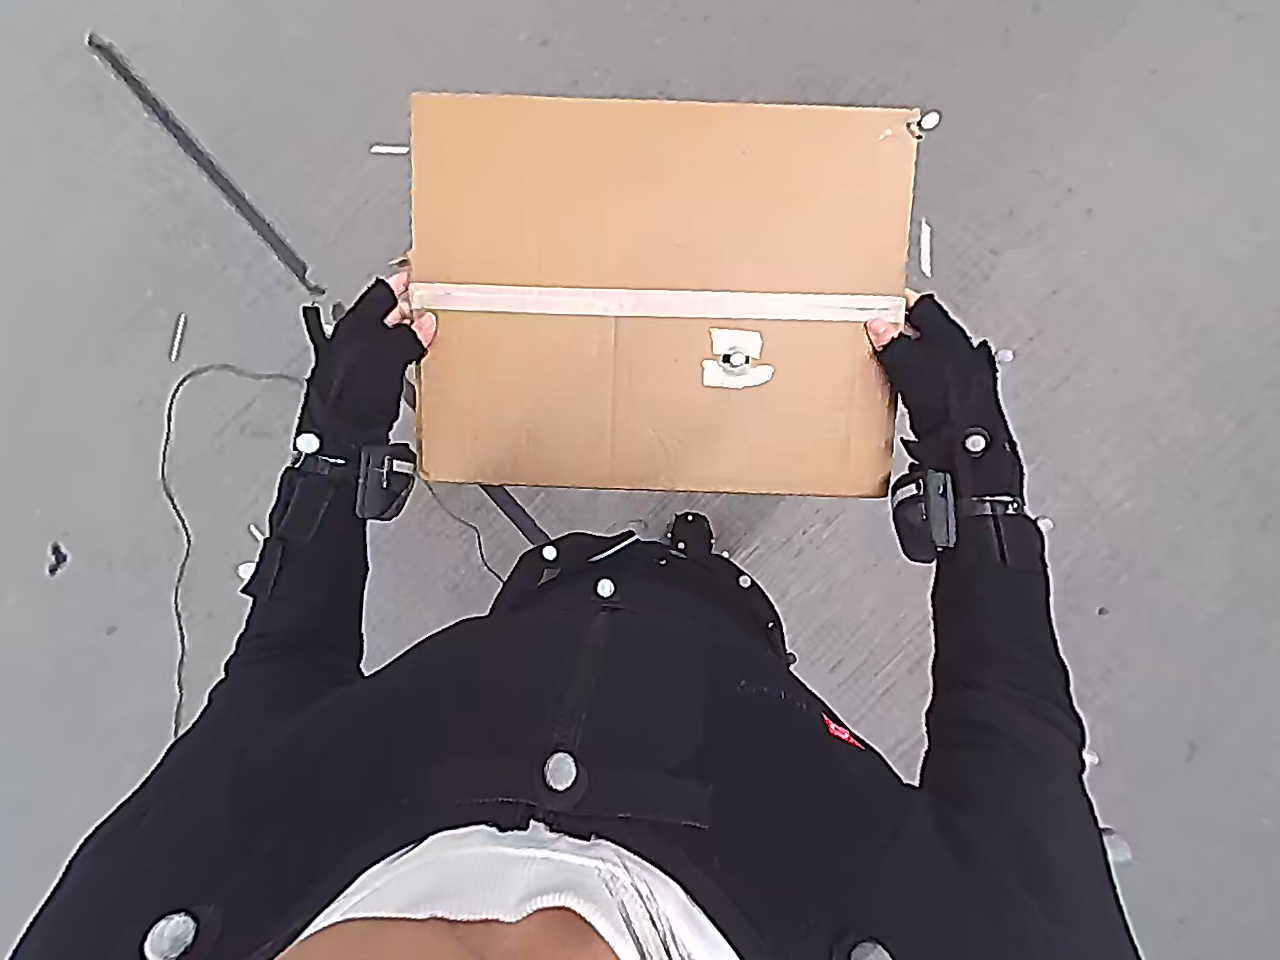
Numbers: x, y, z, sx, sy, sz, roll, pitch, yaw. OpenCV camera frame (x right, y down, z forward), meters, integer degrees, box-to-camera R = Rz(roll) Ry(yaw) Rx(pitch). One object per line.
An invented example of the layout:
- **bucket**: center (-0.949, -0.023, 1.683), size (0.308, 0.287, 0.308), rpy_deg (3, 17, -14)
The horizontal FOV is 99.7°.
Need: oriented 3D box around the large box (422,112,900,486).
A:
- **large box**: center (0.015, -0.165, 0.609), size (0.408, 0.320, 0.320), rpy_deg (1, 97, -1)
